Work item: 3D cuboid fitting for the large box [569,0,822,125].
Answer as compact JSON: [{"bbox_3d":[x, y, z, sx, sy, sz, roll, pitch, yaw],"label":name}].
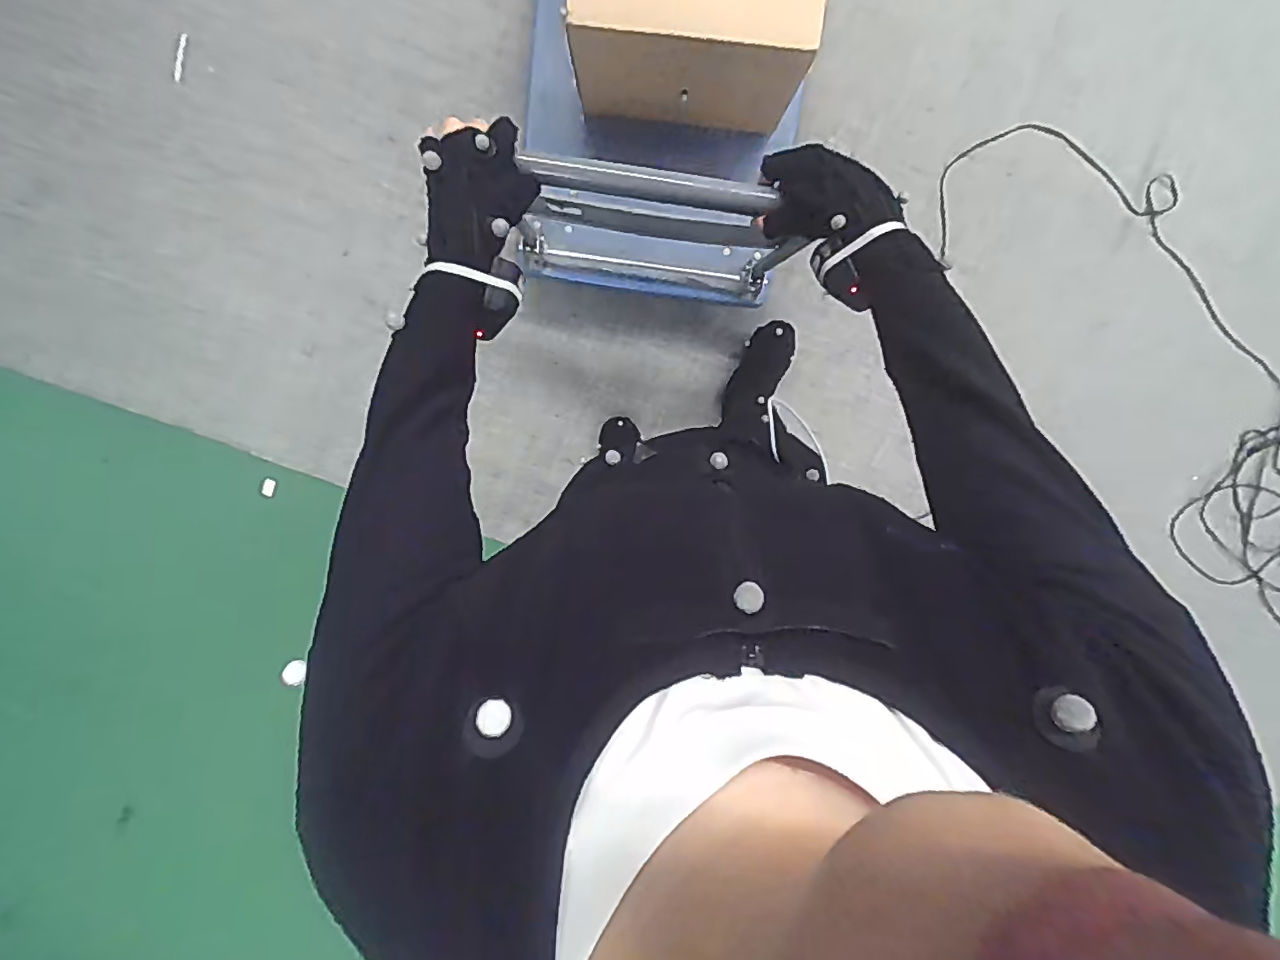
[{"bbox_3d":[0.097,-0.883,0.977,0.408,0.320,0.320,4,101,0],"label":"large box"}]
